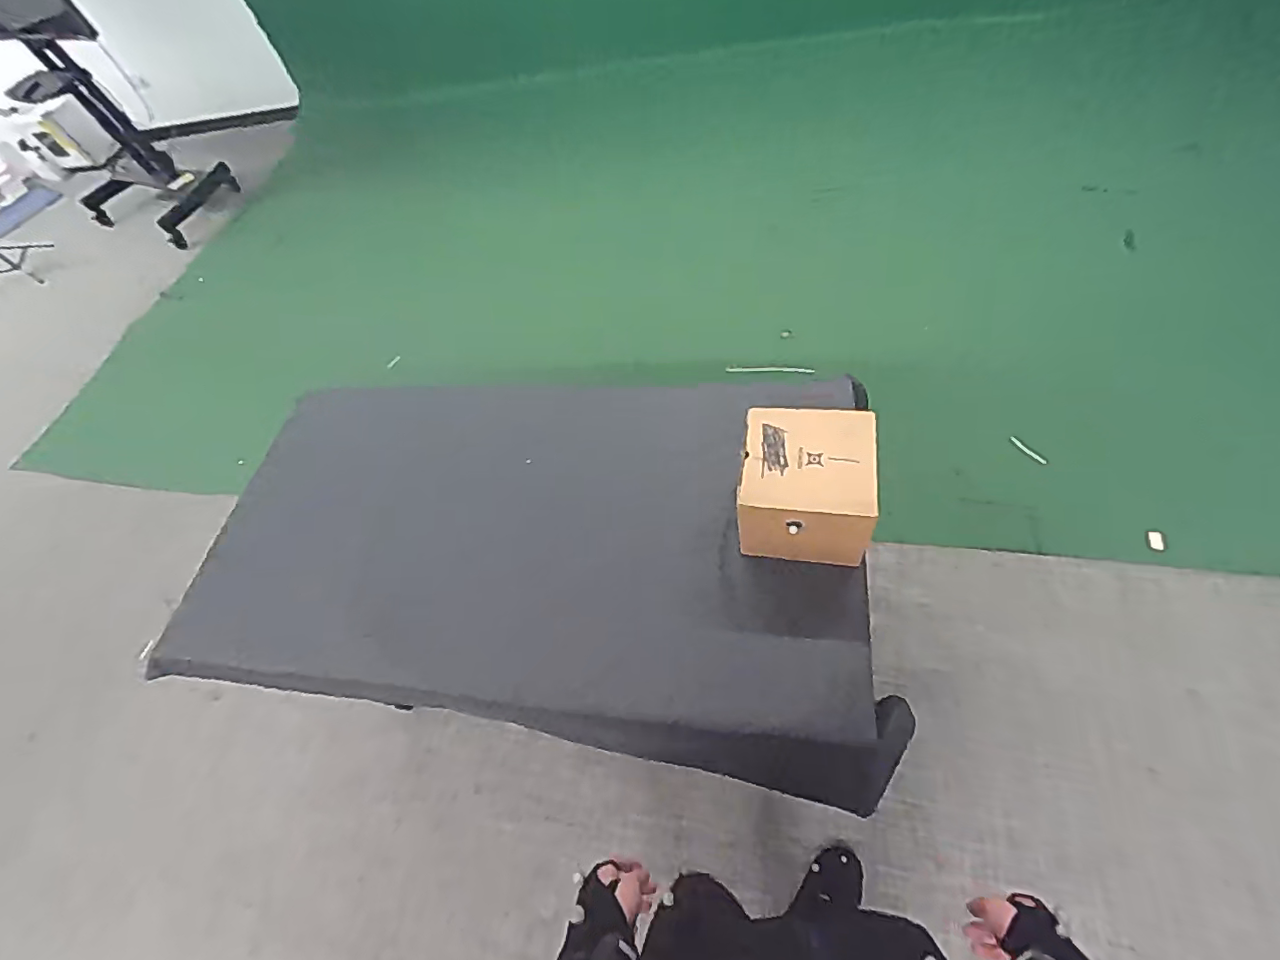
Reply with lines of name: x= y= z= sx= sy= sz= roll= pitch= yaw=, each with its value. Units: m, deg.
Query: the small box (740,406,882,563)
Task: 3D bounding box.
small box: x=0.242 y=0.010 z=0.792 sx=0.179 sy=0.176 sz=0.168 roll=5 pitch=60 yaw=12
